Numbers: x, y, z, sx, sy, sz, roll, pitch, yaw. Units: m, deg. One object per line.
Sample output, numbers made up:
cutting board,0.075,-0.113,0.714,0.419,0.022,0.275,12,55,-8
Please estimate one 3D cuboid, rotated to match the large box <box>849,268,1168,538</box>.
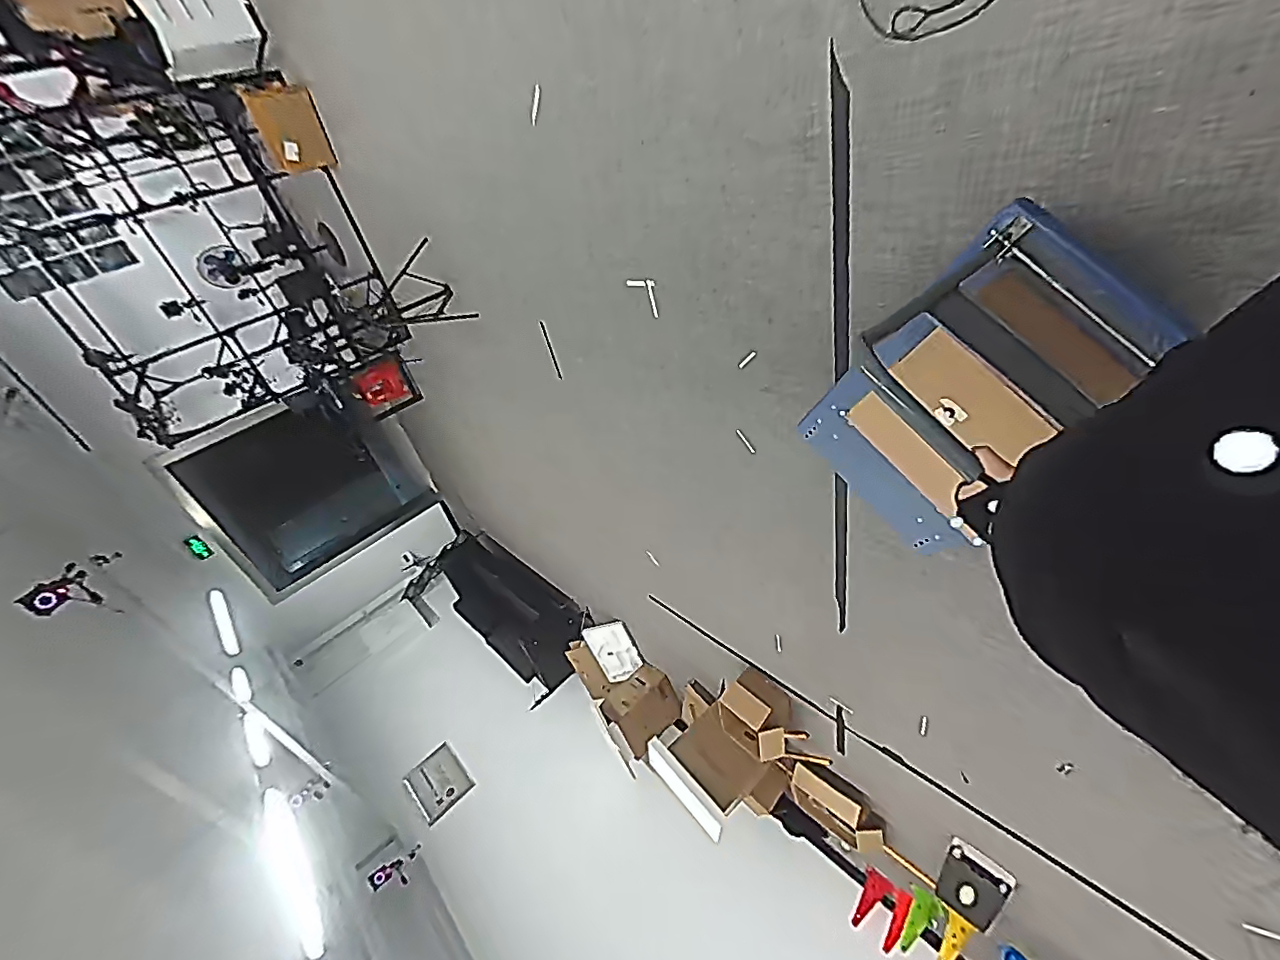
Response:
large box,0.752,-0.158,1.141,0.408,0.320,0.320,48,152,11
